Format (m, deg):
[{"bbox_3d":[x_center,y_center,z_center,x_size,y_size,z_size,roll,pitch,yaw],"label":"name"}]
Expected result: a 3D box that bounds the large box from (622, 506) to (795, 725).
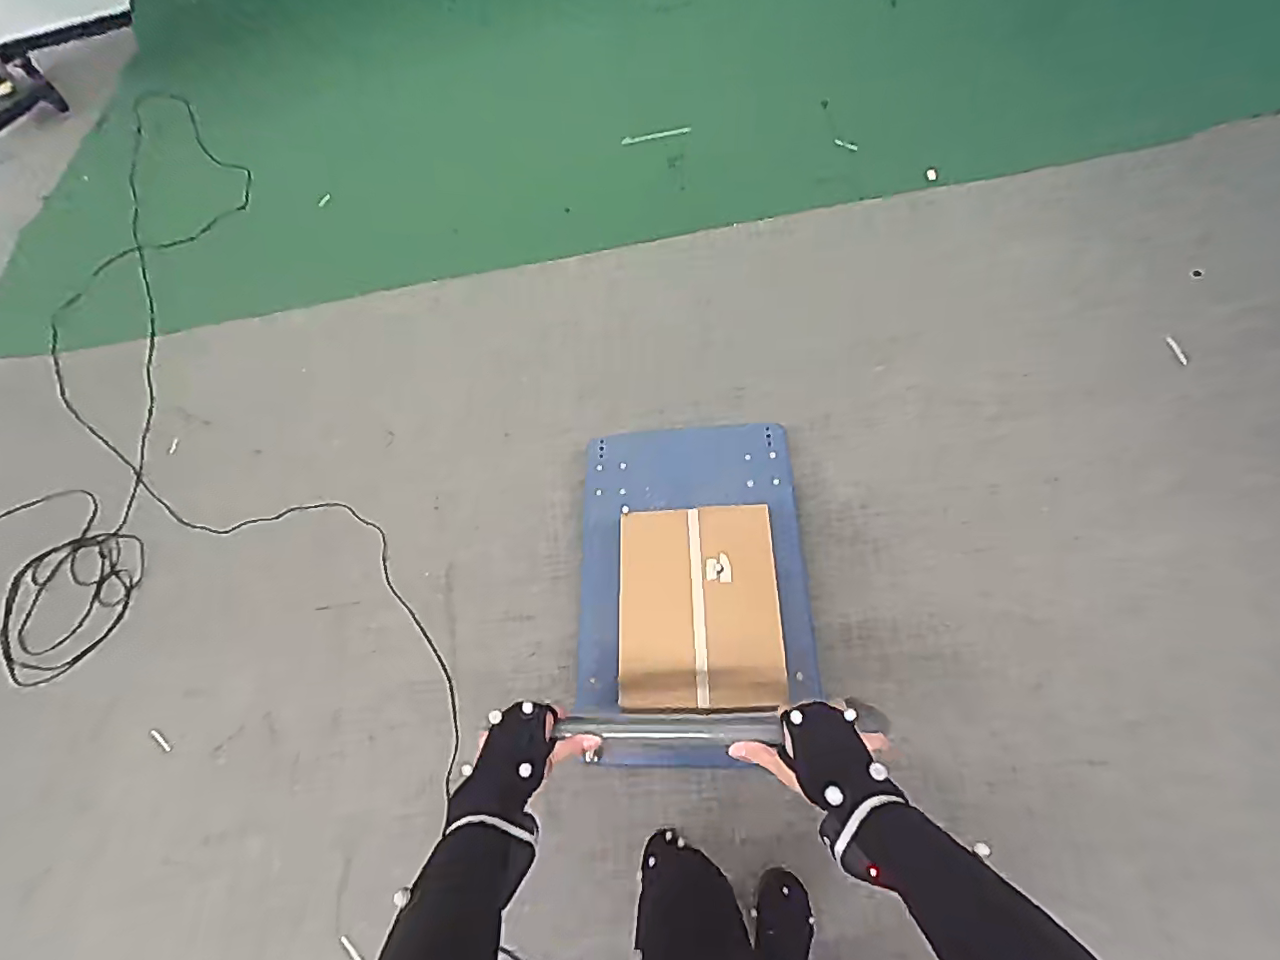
[{"bbox_3d":[0.140,0.309,1.184,0.320,0.320,0.408,-4,63,7],"label":"large box"}]
